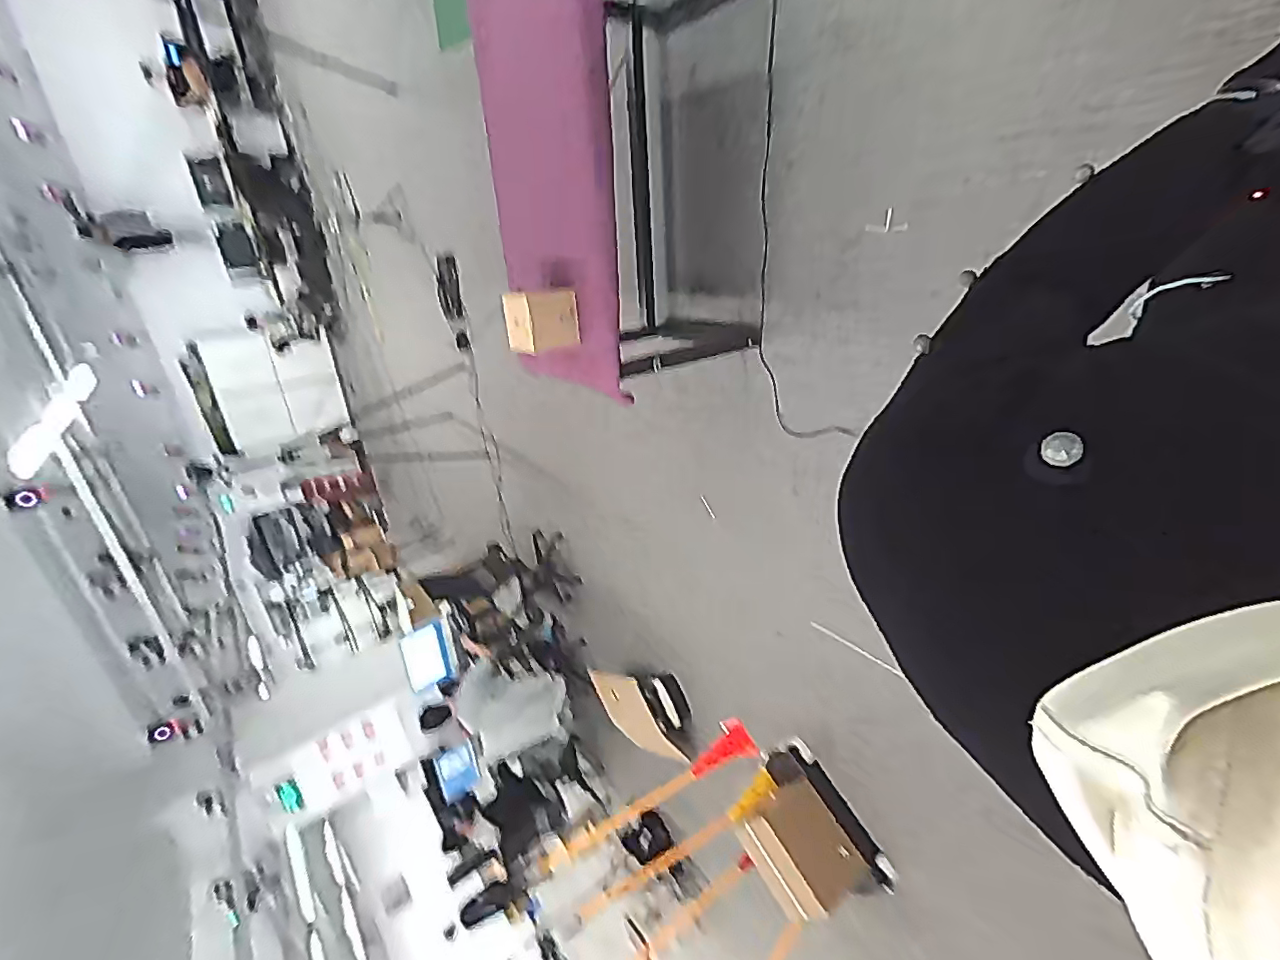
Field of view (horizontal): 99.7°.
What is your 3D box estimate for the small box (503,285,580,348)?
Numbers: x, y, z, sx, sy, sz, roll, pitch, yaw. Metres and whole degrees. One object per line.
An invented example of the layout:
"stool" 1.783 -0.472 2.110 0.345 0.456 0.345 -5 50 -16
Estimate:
"small box" -0.308 -0.520 1.706 0.179 0.176 0.168 23 126 48
